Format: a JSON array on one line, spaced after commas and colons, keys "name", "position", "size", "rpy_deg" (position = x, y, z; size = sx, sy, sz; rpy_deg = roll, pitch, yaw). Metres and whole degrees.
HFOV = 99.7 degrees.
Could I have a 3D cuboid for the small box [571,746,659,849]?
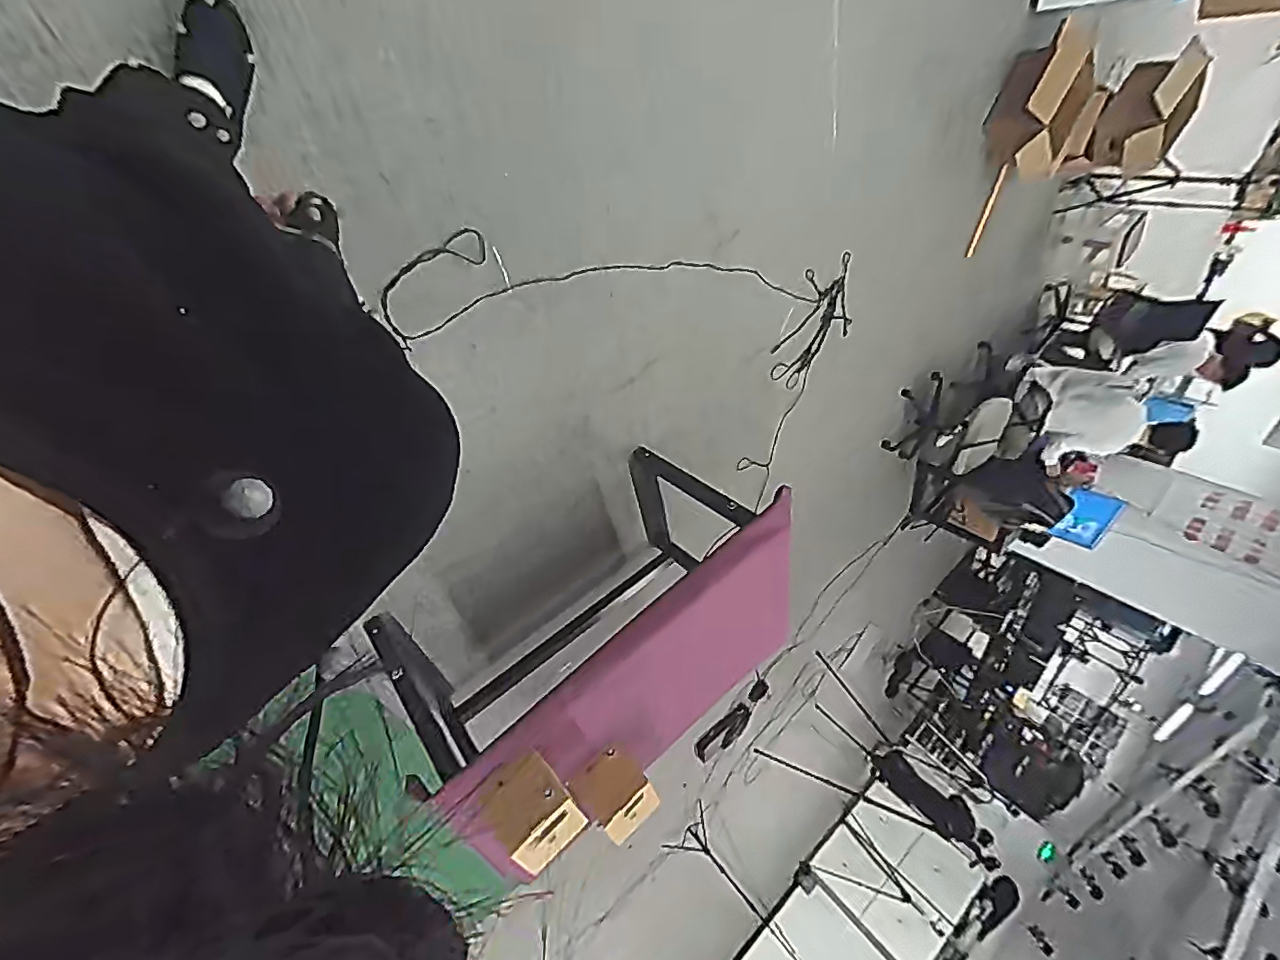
[{"name": "small box", "position": [-0.074, 0.897, 1.541], "size": [0.168, 0.176, 0.179], "rpy_deg": [-36, 135, -22]}]
